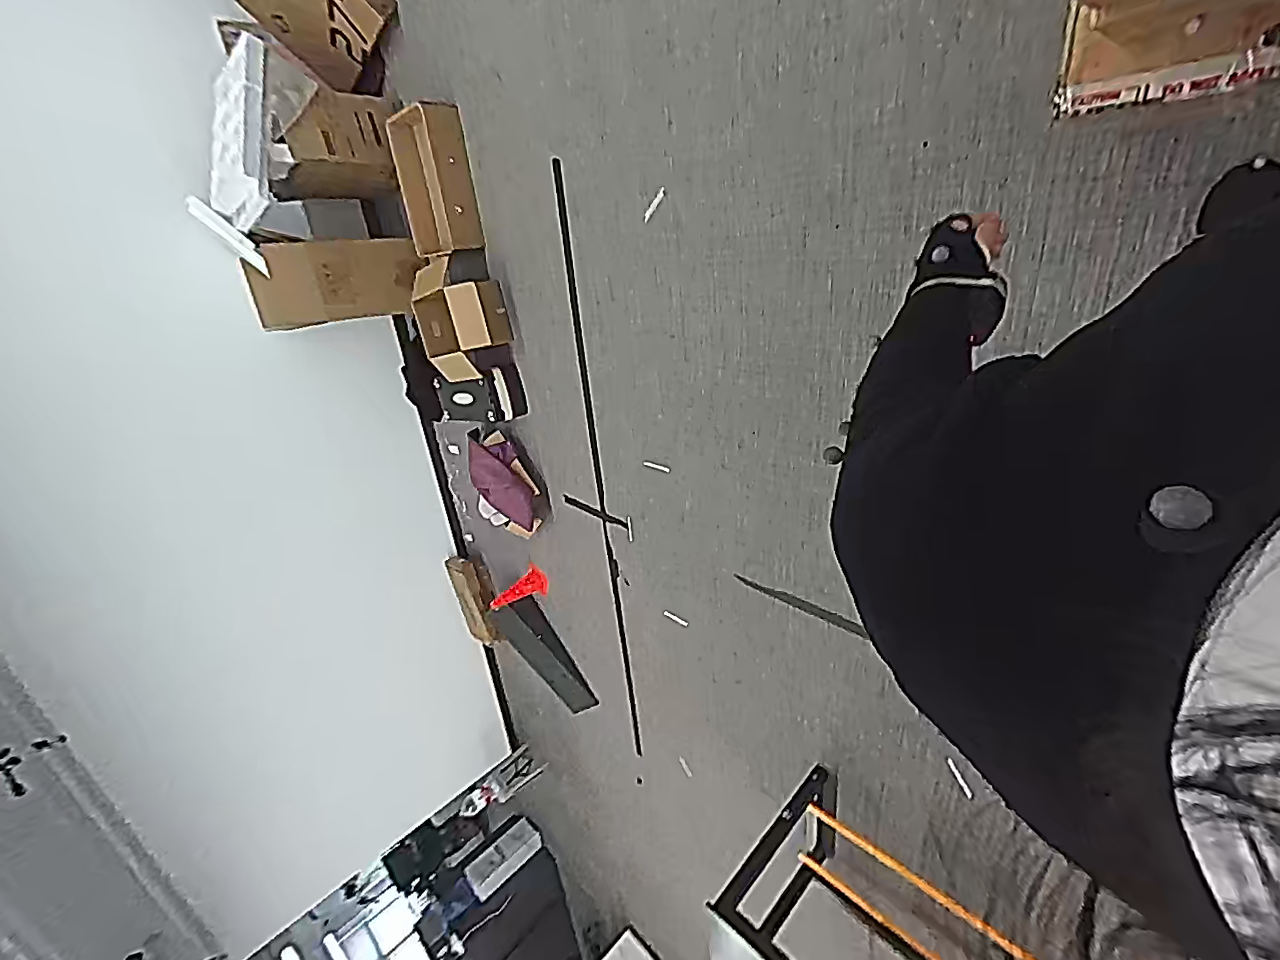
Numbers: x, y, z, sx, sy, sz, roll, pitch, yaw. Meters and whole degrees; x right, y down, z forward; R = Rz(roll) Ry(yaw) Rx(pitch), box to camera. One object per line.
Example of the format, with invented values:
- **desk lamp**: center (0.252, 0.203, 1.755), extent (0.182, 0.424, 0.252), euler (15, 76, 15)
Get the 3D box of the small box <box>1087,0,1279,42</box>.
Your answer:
- **small box**: center (0.576, -0.569, 0.531), extent (0.168, 0.176, 0.179), euler (18, 126, 44)
